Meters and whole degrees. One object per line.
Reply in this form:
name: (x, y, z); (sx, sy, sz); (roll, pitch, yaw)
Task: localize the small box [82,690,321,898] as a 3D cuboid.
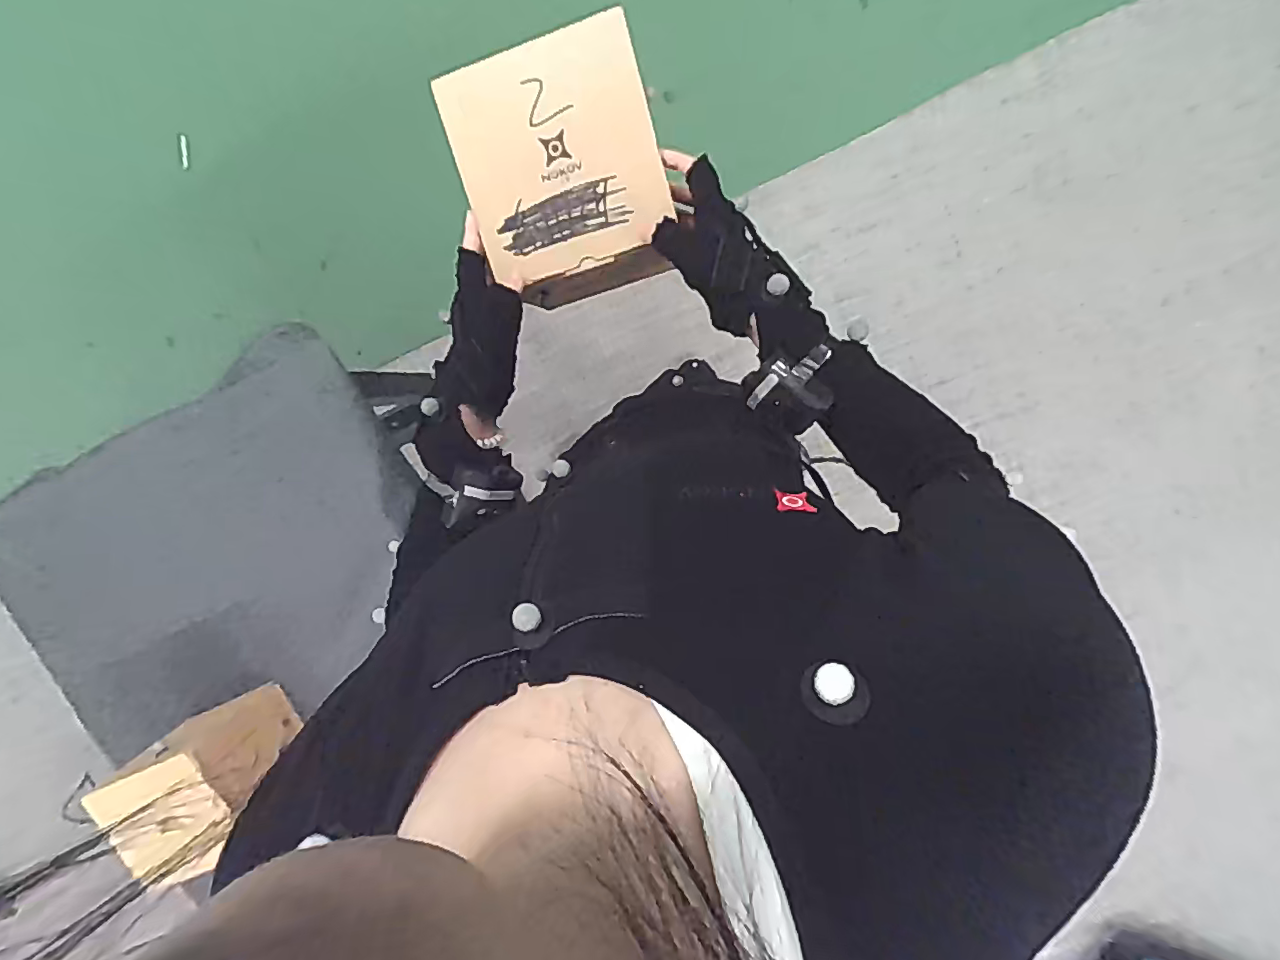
small box: (-0.622, 0.445, 0.791); (0.179, 0.176, 0.168); (-25, 98, 5)
